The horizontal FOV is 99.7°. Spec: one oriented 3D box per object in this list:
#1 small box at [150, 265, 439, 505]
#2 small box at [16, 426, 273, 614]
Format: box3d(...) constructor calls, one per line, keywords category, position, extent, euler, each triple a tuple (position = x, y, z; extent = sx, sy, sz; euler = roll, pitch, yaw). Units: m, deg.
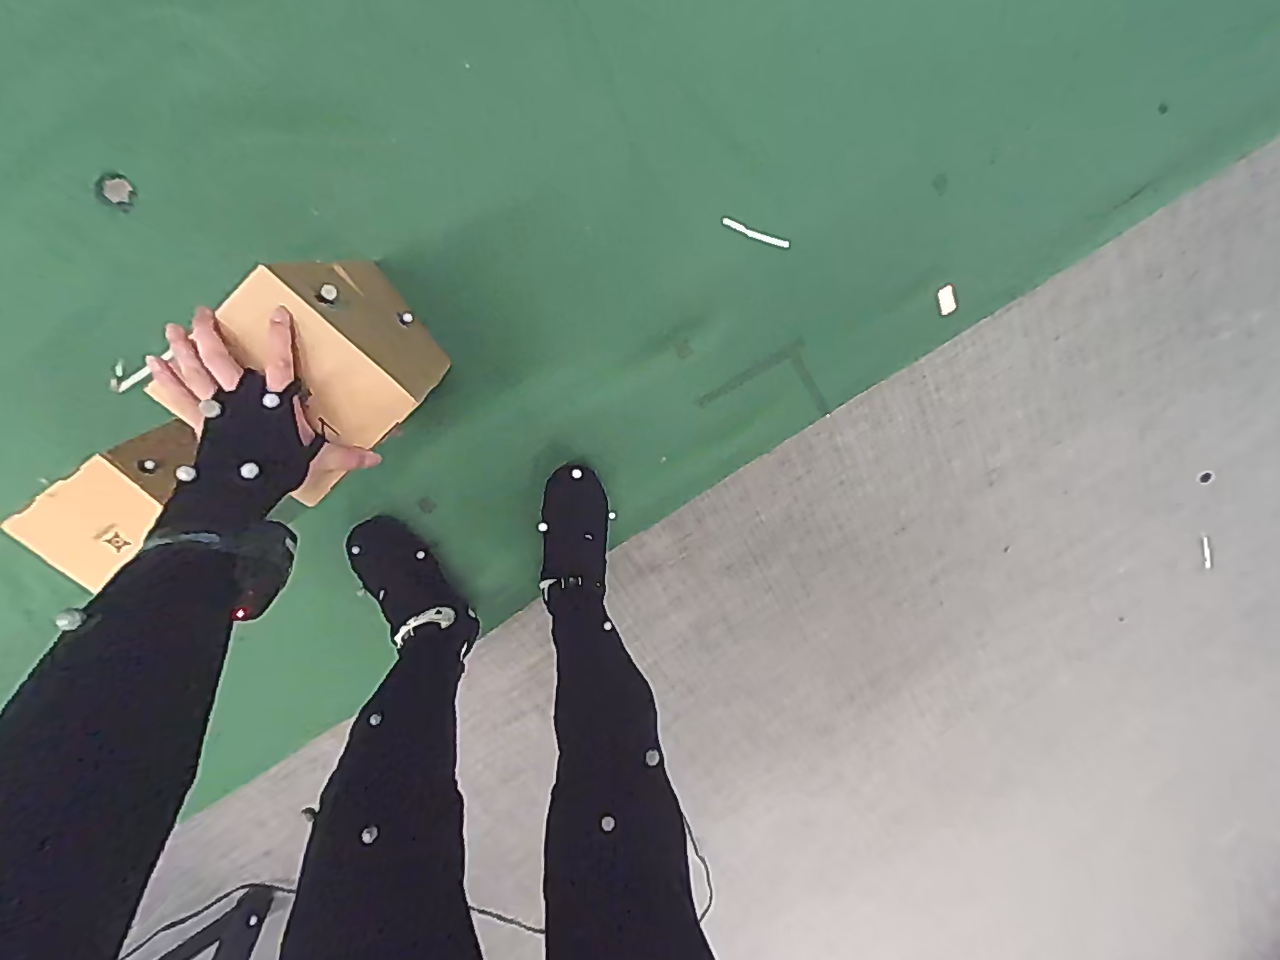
box3d(category="small box", position=(-0.352, -0.109, 0.593), extent=(0.168, 0.176, 0.179), euler=(-42, 113, 8))
box3d(category="small box", position=(-0.685, 0.049, 0.778), extent=(0.168, 0.176, 0.179), euler=(-34, 113, 5))
